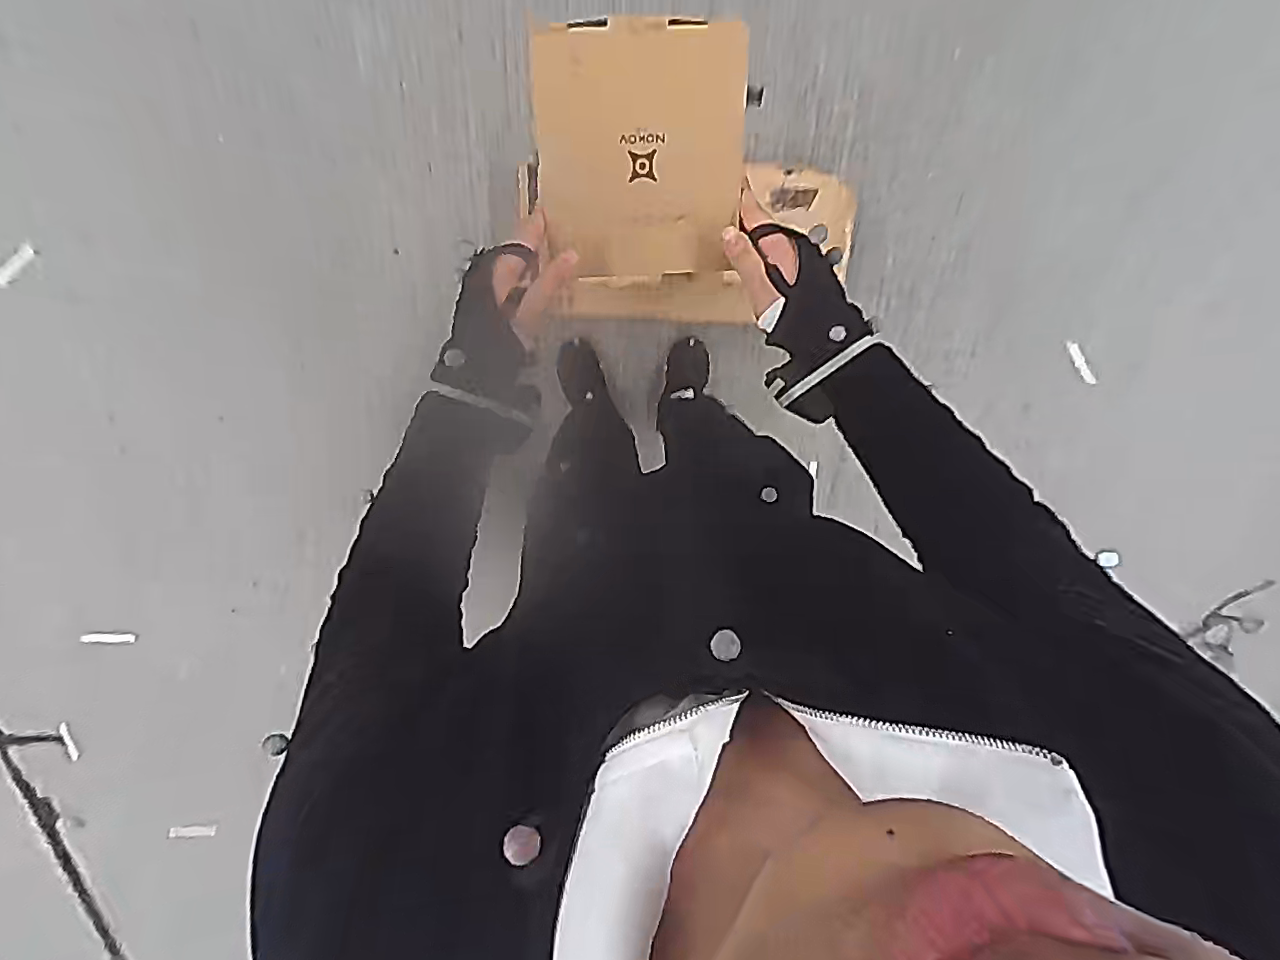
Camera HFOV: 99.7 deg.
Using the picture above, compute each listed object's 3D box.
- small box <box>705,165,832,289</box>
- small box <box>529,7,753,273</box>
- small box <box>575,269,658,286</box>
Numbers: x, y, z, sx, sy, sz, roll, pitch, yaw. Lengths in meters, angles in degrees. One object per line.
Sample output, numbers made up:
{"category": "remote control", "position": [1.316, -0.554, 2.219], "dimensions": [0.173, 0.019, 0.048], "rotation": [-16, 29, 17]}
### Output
{"category": "small box", "position": [0.219, -0.443, 0.970], "dimensions": [0.168, 0.176, 0.179], "rotation": [4, 111, -5]}
{"category": "small box", "position": [-0.003, -0.296, 0.494], "dimensions": [0.168, 0.176, 0.179], "rotation": [-4, 120, -2]}
{"category": "small box", "position": [-0.049, -0.495, 1.105], "dimensions": [0.168, 0.176, 0.179], "rotation": [-2, 112, -4]}
